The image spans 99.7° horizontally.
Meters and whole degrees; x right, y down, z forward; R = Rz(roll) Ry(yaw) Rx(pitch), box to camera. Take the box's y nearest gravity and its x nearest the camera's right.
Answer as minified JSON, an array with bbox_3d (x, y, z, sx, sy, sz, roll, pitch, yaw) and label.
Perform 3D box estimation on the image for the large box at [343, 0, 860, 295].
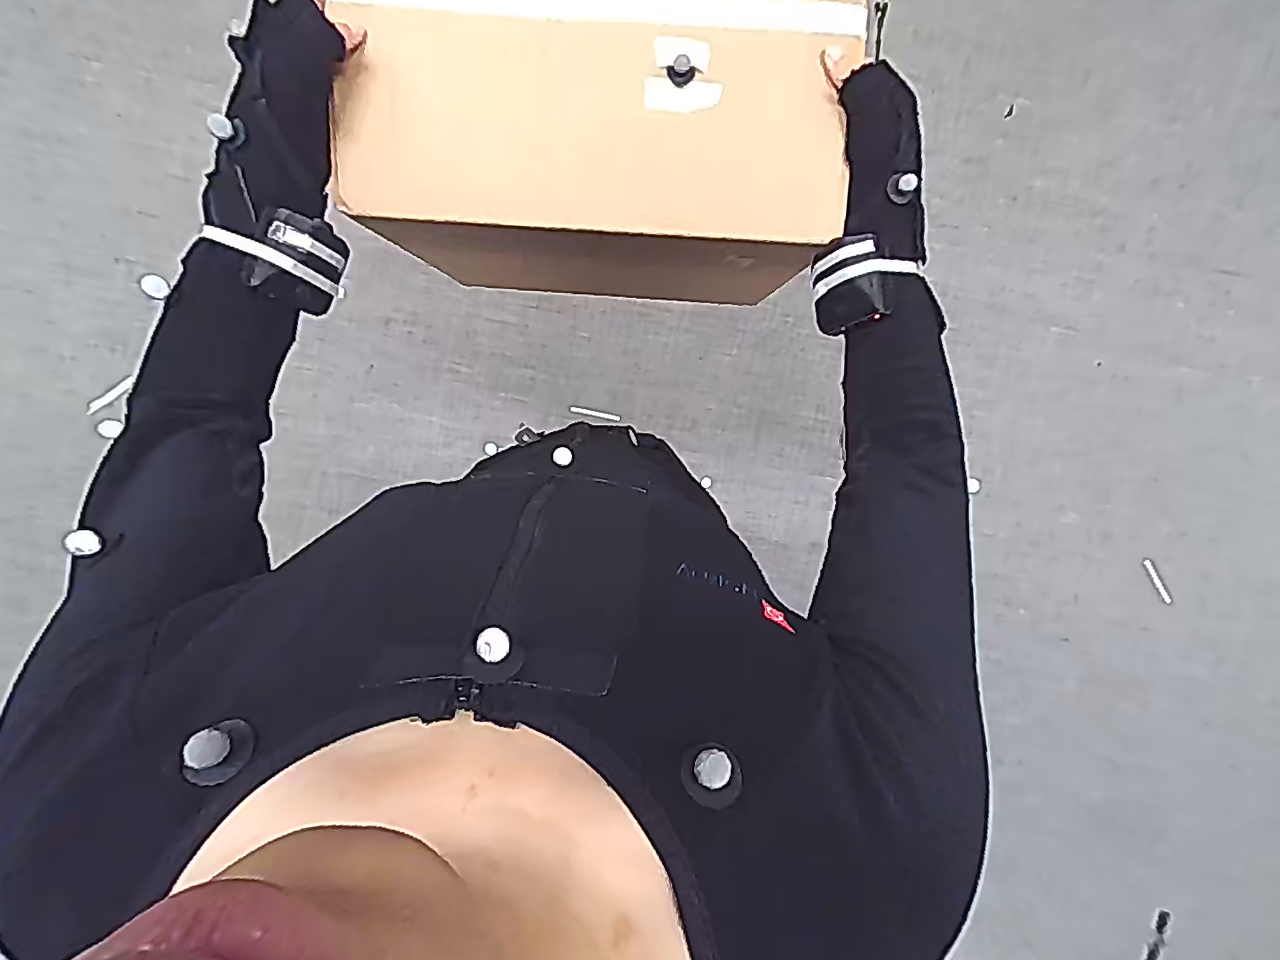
[{"bbox_3d":[-0.031,-0.386,0.562,0.408,0.320,0.320,3,100,-1],"label":"large box"}]
